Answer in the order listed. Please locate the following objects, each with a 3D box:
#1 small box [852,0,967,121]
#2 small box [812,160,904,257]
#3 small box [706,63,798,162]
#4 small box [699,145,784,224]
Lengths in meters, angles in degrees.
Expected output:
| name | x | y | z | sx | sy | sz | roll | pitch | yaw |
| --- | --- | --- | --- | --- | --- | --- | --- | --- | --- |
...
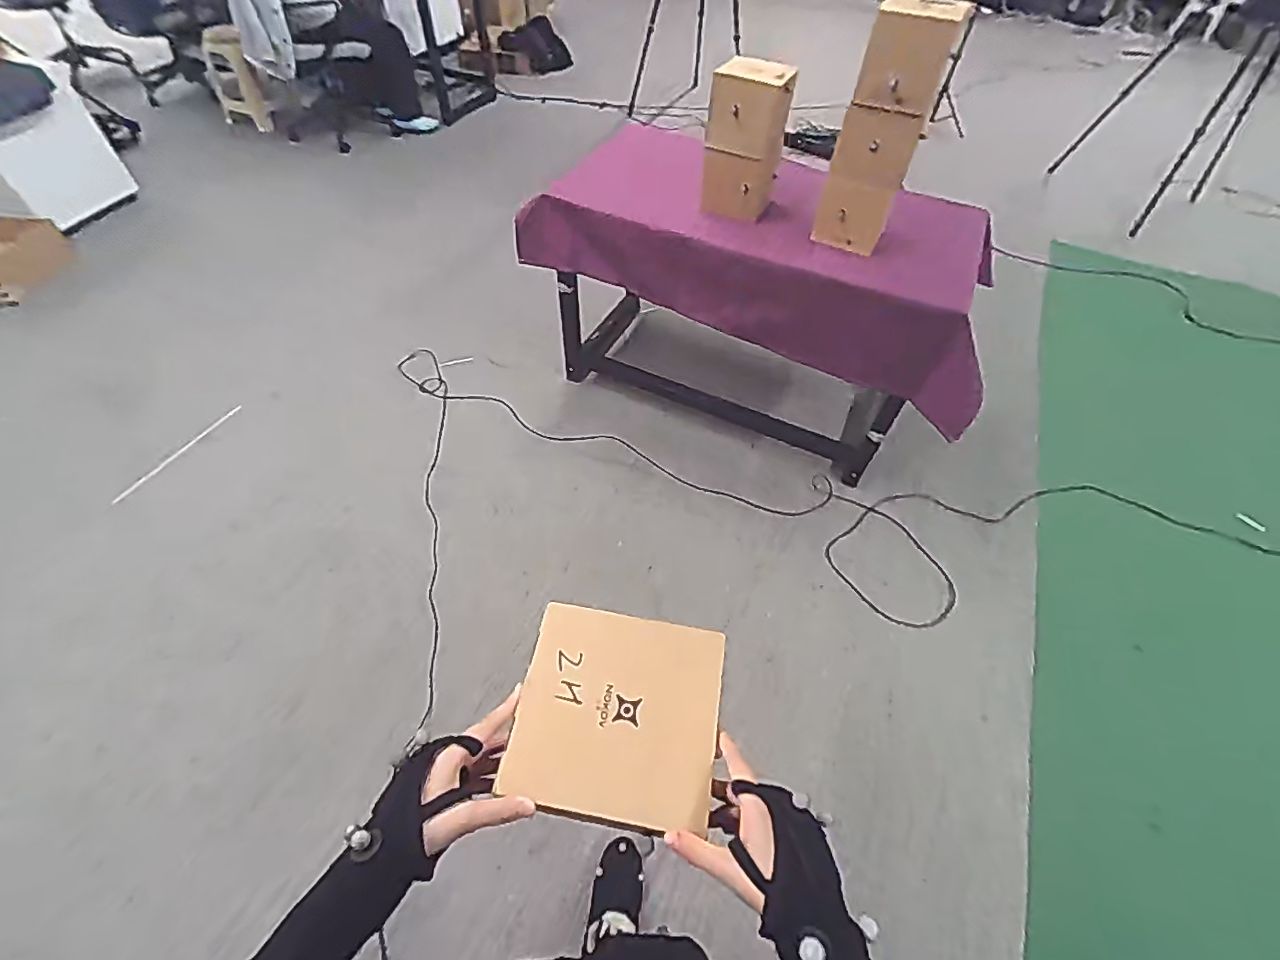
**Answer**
| name | x | y | z | sx | sy | sz | roll | pitch | yaw |
| --- | --- | --- | --- | --- | --- | --- | --- | --- | --- |
| small box | 0.591 | -0.931 | 1.200 | 0.168 | 0.176 | 0.179 | 23 | 54 | 16 |
| small box | 0.582 | -0.730 | 1.460 | 0.168 | 0.176 | 0.179 | 24 | 54 | 15 |
| small box | 0.287 | -0.960 | 1.415 | 0.179 | 0.176 | 0.168 | 23 | 54 | 15 |
| small box | 0.285 | -0.859 | 1.545 | 0.179 | 0.176 | 0.168 | 23 | 54 | 15 |
